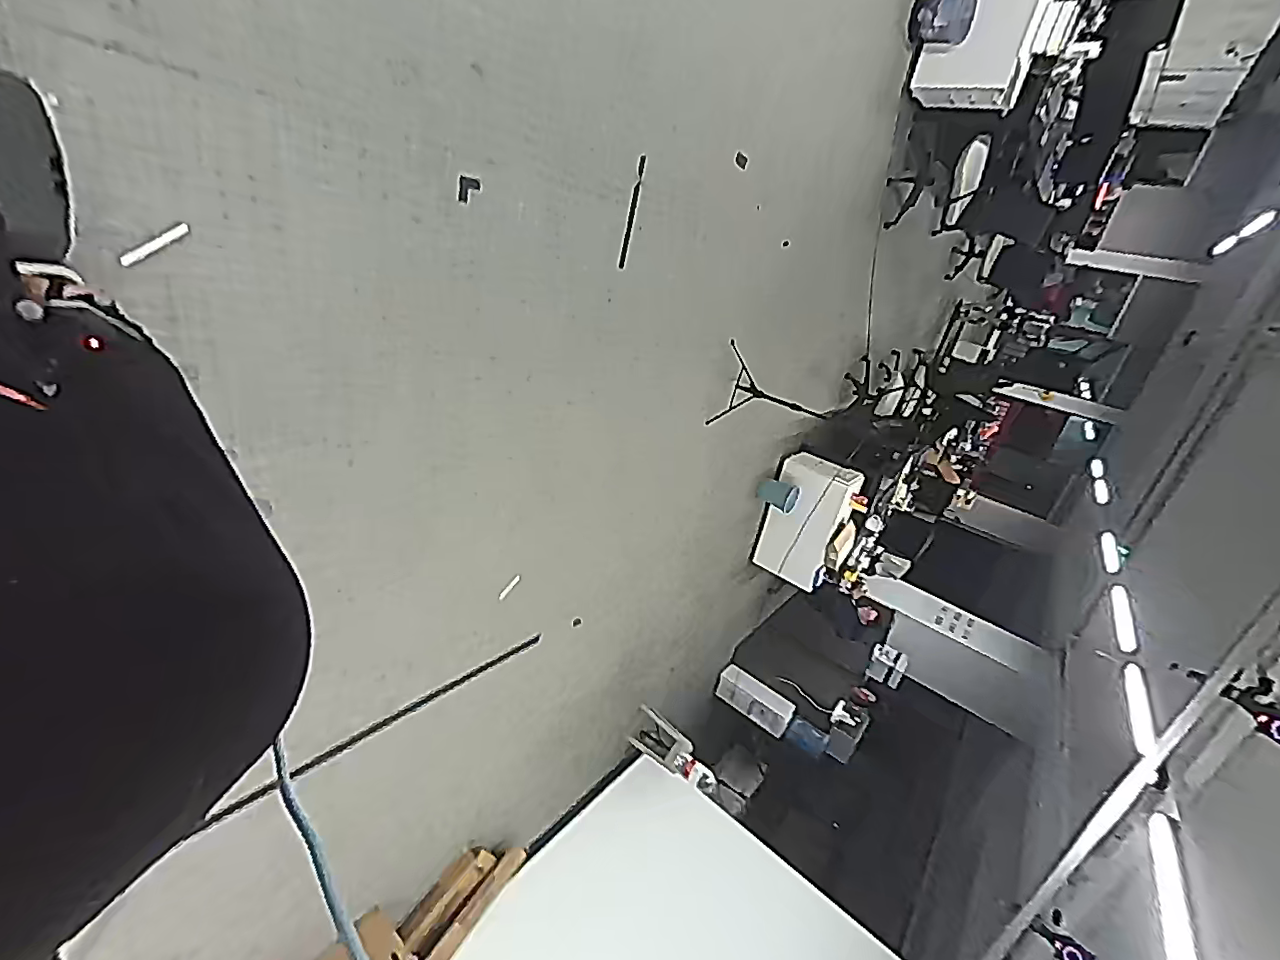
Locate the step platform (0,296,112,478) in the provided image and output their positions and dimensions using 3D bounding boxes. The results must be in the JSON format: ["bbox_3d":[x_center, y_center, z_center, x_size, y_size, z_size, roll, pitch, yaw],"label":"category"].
[{"bbox_3d":[-1.225,-0.140,0.767,0.684,0.204,0.286,-10,119,-52],"label":"step platform"}]
